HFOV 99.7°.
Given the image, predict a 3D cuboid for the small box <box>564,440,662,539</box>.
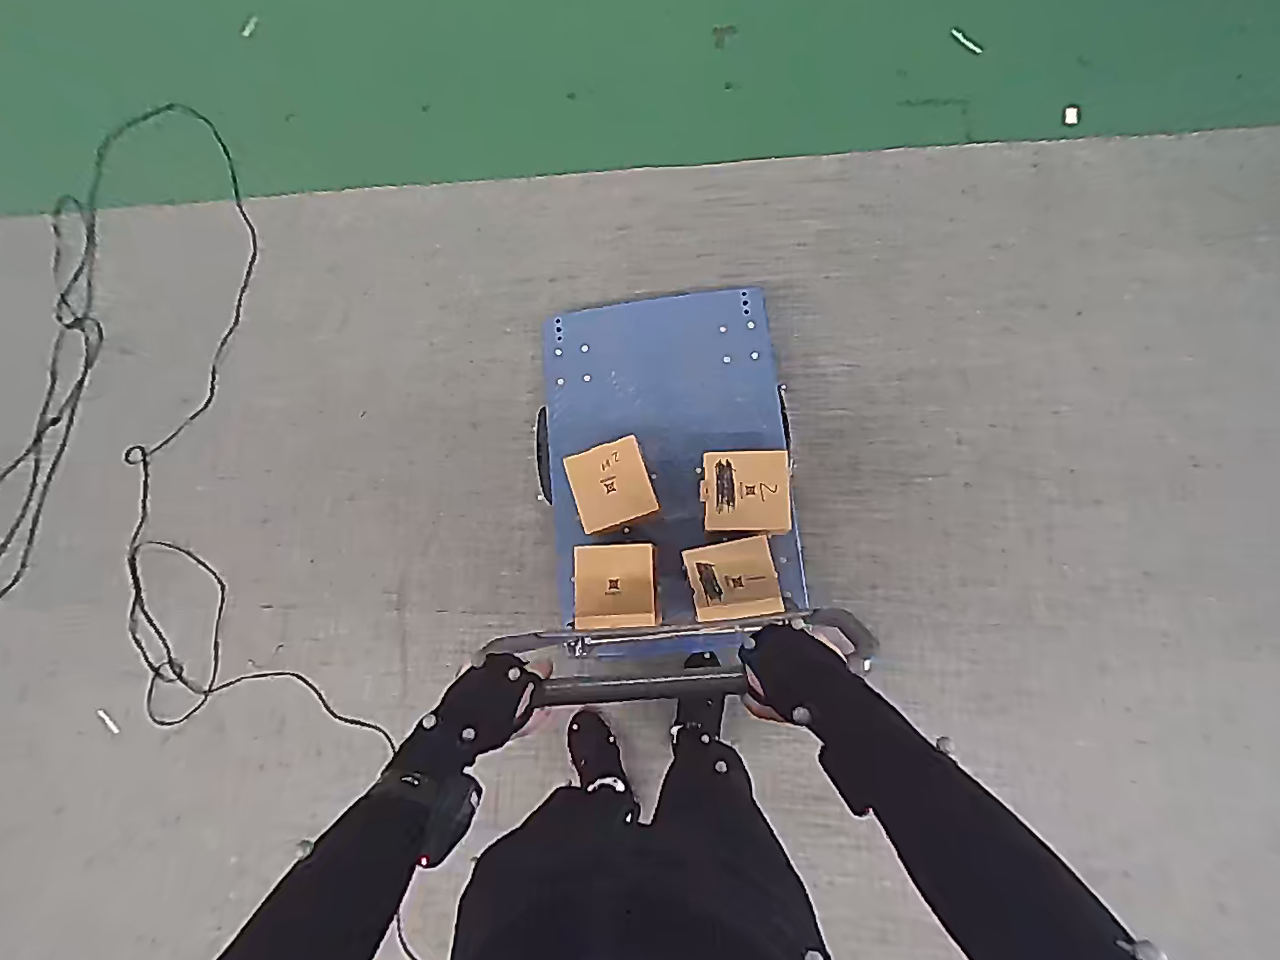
[{"bbox_3d":[-0.053,0.030,1.223,0.168,0.176,0.179,-19,78,3],"label":"small box"}]
